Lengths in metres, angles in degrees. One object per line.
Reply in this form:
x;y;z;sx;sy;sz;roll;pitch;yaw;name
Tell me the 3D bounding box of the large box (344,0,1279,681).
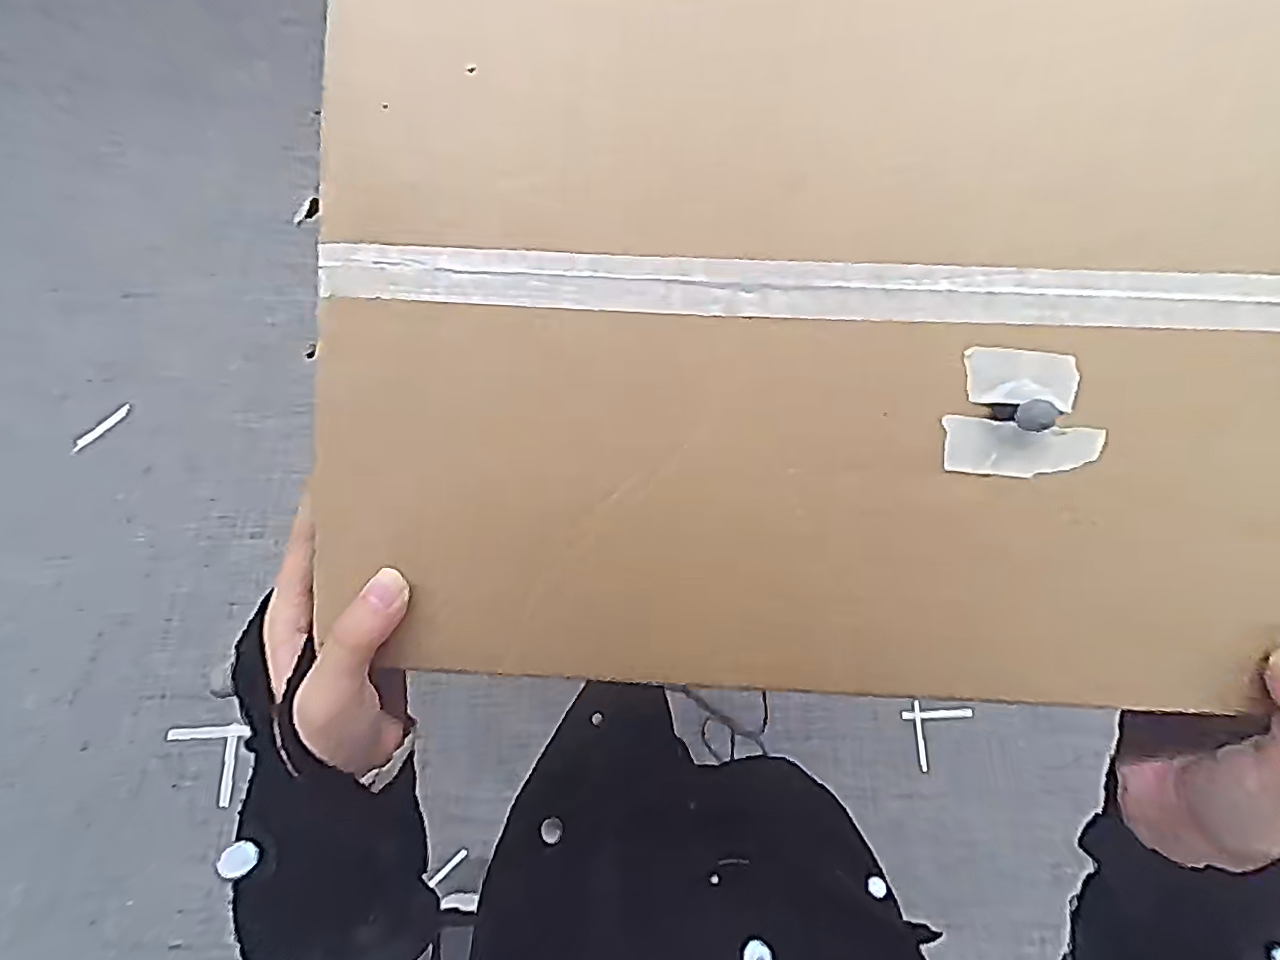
0.078;-0.075;0.370;0.408;0.320;0.320;2;92;0;large box
